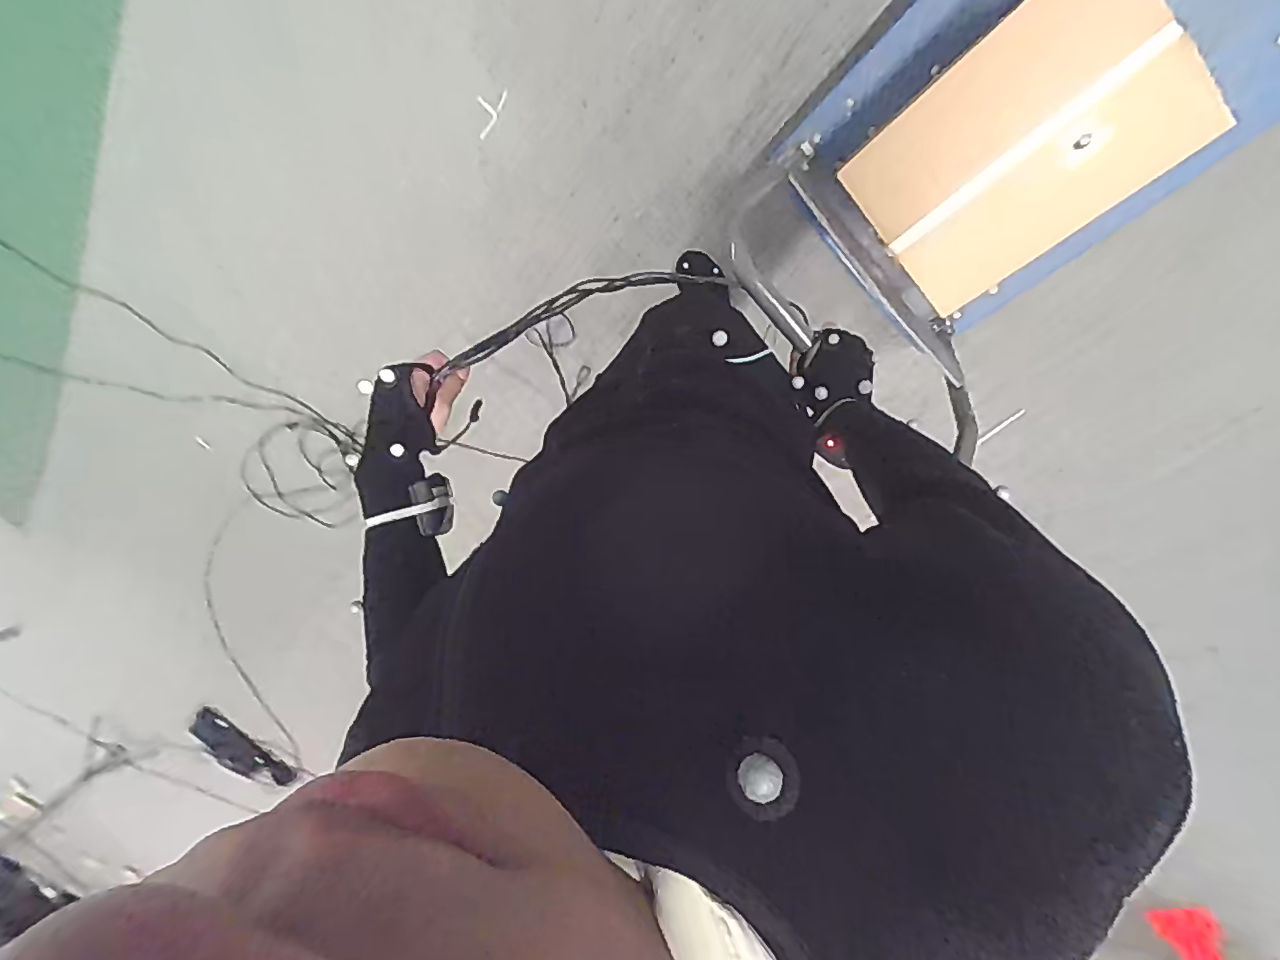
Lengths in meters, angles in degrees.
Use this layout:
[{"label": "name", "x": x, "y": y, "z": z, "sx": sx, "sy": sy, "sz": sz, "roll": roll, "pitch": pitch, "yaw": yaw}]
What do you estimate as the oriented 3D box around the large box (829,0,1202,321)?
[{"label": "large box", "x": 0.597, "y": -0.557, "z": 0.955, "sx": 0.408, "sy": 0.320, "sz": 0.320, "roll": -35, "pitch": 103, "yaw": 32}]
